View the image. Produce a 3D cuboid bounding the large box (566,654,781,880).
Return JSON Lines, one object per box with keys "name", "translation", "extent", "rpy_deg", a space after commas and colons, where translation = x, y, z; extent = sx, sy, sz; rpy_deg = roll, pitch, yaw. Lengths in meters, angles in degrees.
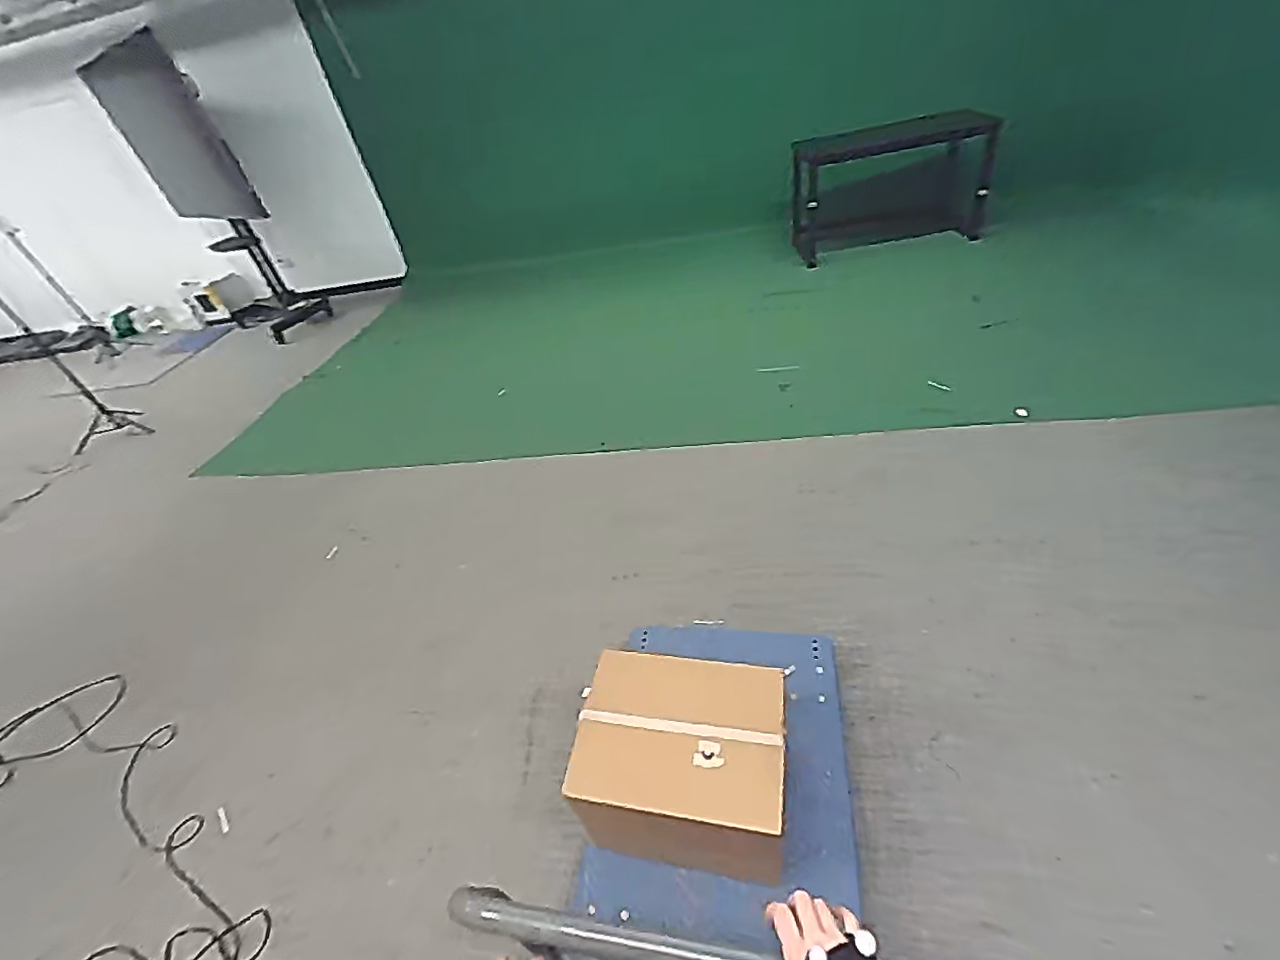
{"name": "large box", "translation": [0.097, 0.617, 1.184], "extent": [0.408, 0.320, 0.320], "rpy_deg": [1, 41, 14]}
